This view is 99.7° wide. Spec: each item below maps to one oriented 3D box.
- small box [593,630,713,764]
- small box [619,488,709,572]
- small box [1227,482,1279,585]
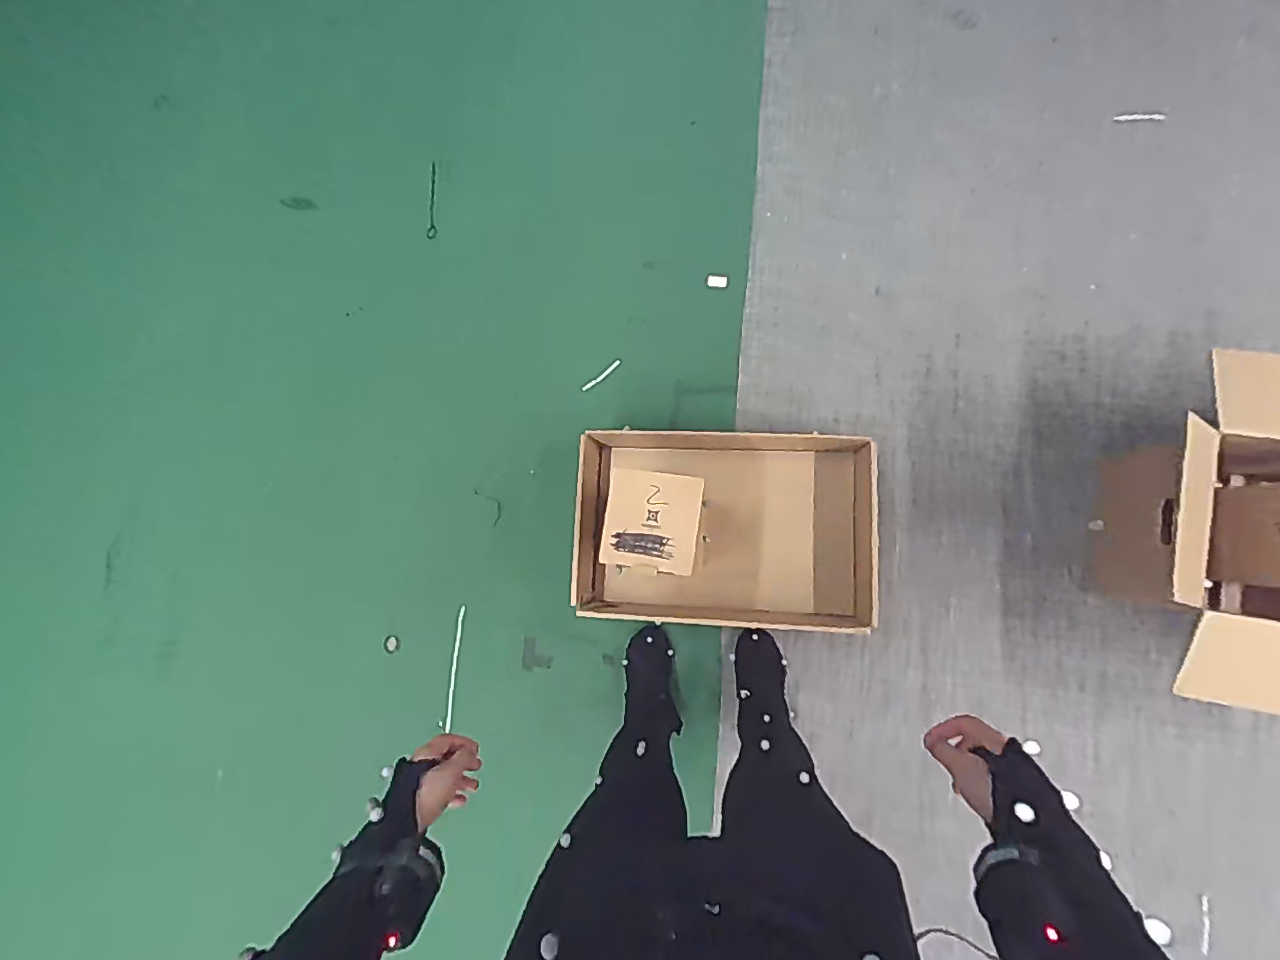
[{"bbox_3d":[0.035,0.466,1.174,0.179,0.168,0.176,-40,109,-22],"label":"small box"},{"bbox_3d":[0.058,0.114,1.186,0.179,0.176,0.168,3,82,7],"label":"small box"},{"bbox_3d":[1.144,0.091,0.901,0.168,0.176,0.179,2,83,11],"label":"small box"}]
